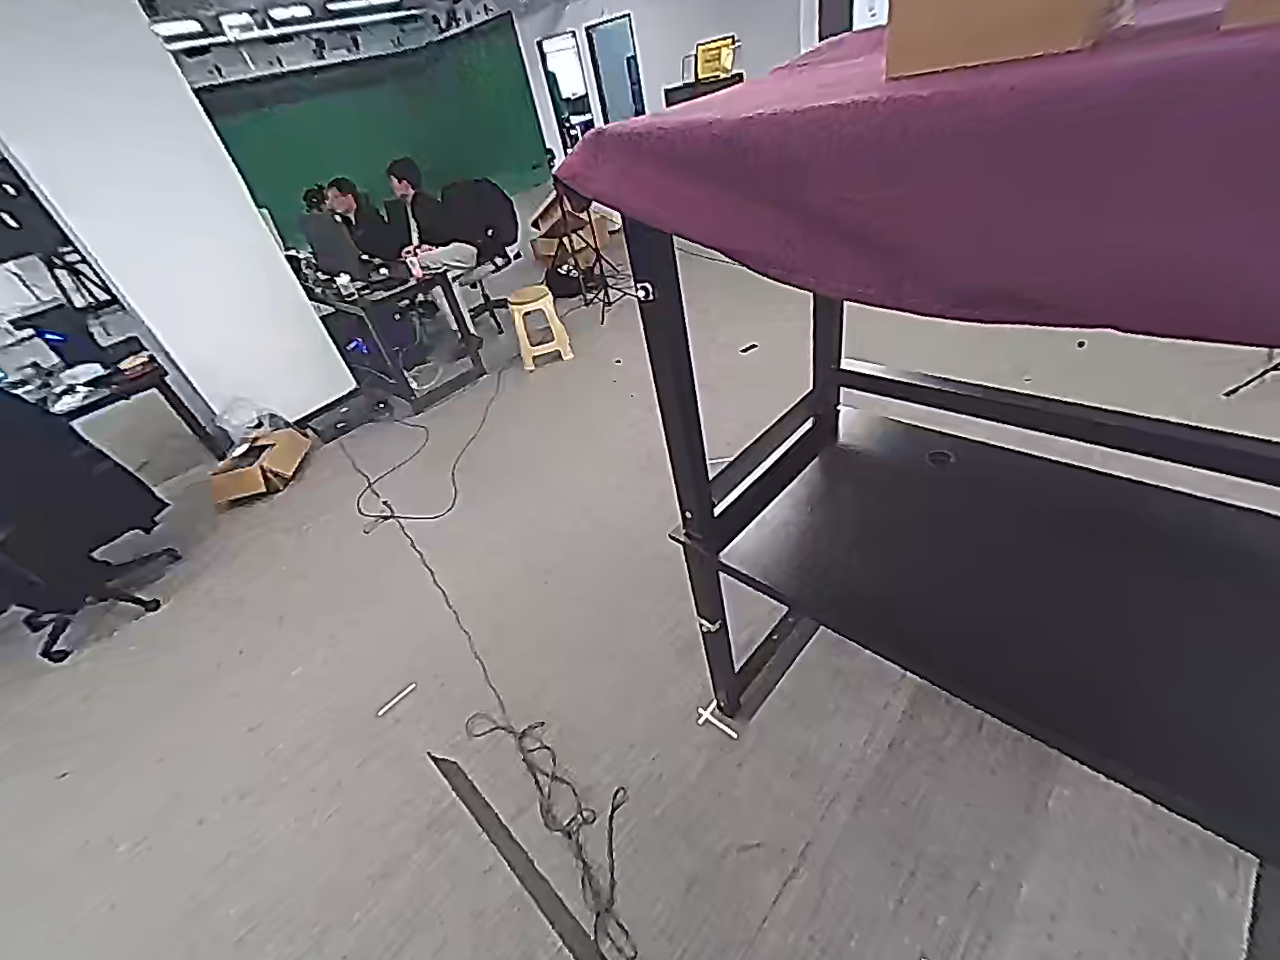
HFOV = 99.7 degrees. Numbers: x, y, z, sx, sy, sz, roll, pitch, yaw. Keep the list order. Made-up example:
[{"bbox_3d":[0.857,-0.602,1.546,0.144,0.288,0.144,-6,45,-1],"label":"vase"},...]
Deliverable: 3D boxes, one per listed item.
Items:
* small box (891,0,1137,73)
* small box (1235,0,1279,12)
[{"bbox_3d":[0.353,-0.498,0.492,0.179,0.176,0.168,24,50,39],"label":"small box"},{"bbox_3d":[0.519,-0.416,0.332,0.168,0.176,0.179,19,47,36],"label":"small box"}]
